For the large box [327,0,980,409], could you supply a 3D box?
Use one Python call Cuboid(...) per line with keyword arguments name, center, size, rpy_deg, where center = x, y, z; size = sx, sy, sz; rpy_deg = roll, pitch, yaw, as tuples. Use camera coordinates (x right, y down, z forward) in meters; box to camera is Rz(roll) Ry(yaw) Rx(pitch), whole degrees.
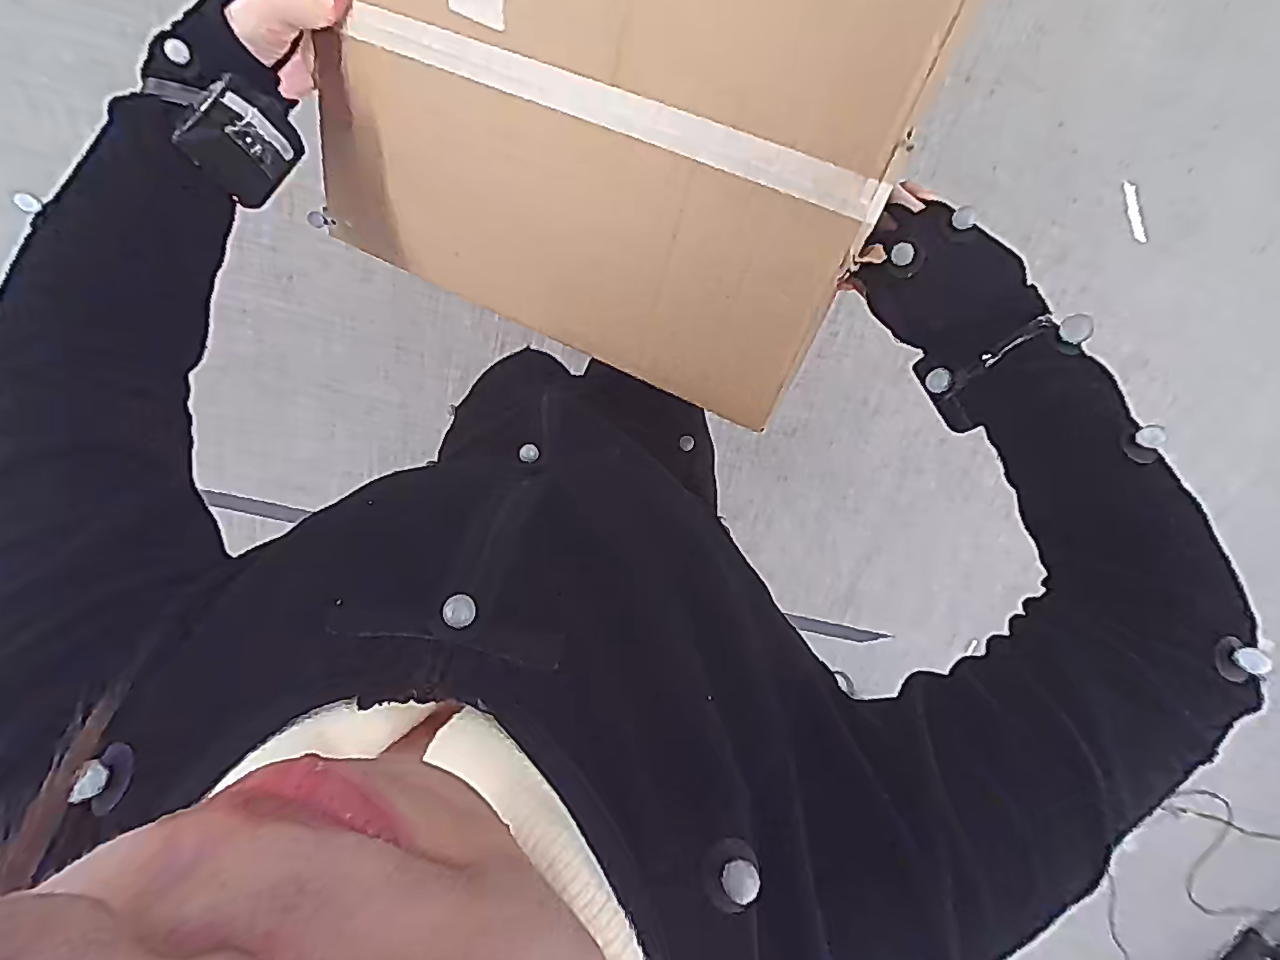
Cuboid(name="large box", center=(0.021, -0.317, 0.456), size=(0.408, 0.320, 0.320), rpy_deg=(26, 125, 10))
